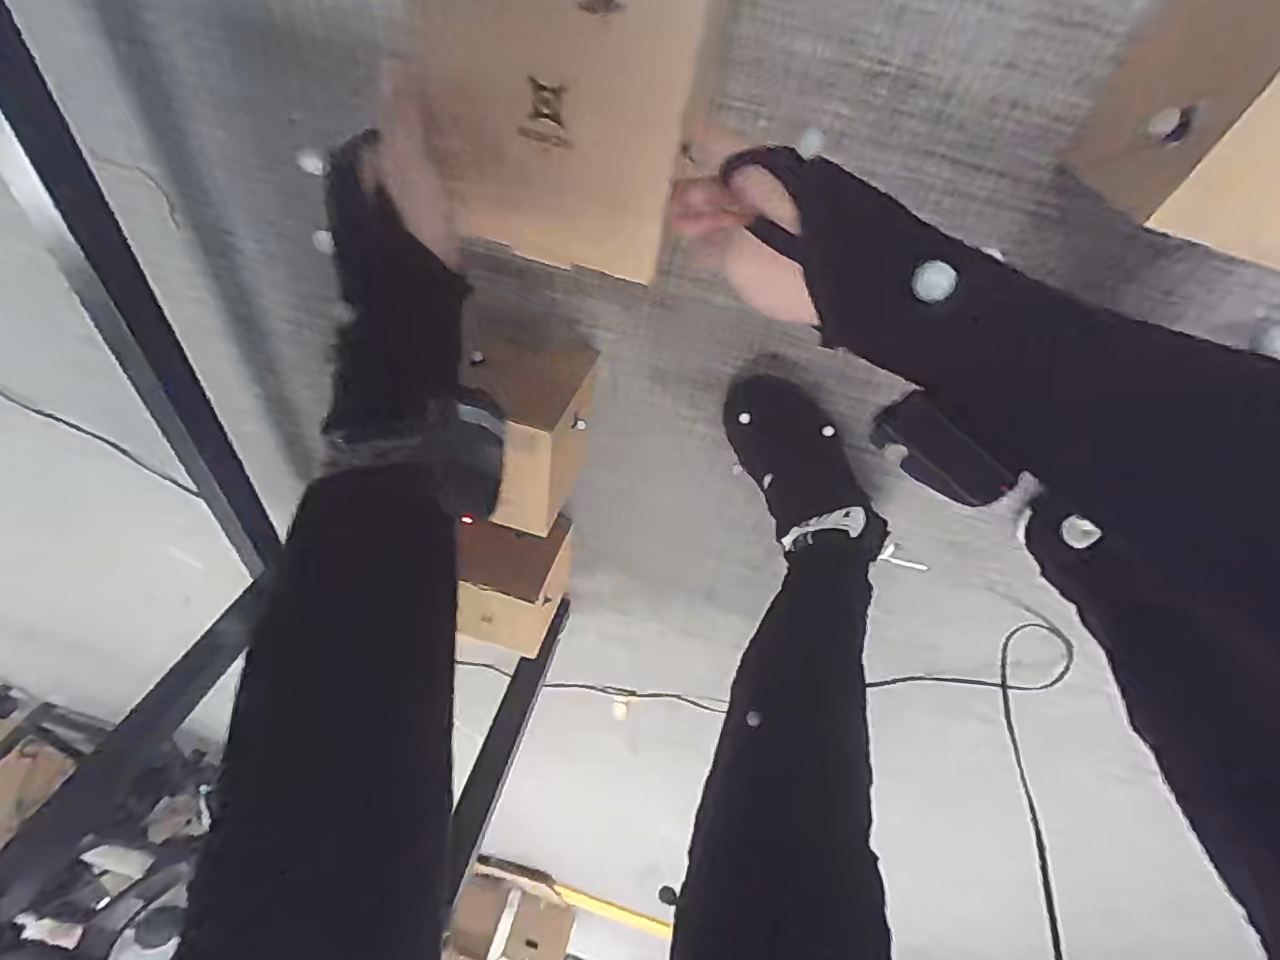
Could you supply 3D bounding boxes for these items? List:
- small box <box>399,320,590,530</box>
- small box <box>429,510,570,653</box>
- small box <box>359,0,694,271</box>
[{"bbox_3d":[-0.166,-0.072,0.669,0.168,0.176,0.179,16,135,4],"label":"small box"},{"bbox_3d":[-0.221,0.152,0.898,0.168,0.176,0.179,14,134,5],"label":"small box"},{"bbox_3d":[-0.062,-0.281,0.371,0.168,0.176,0.179,15,140,2],"label":"small box"}]
